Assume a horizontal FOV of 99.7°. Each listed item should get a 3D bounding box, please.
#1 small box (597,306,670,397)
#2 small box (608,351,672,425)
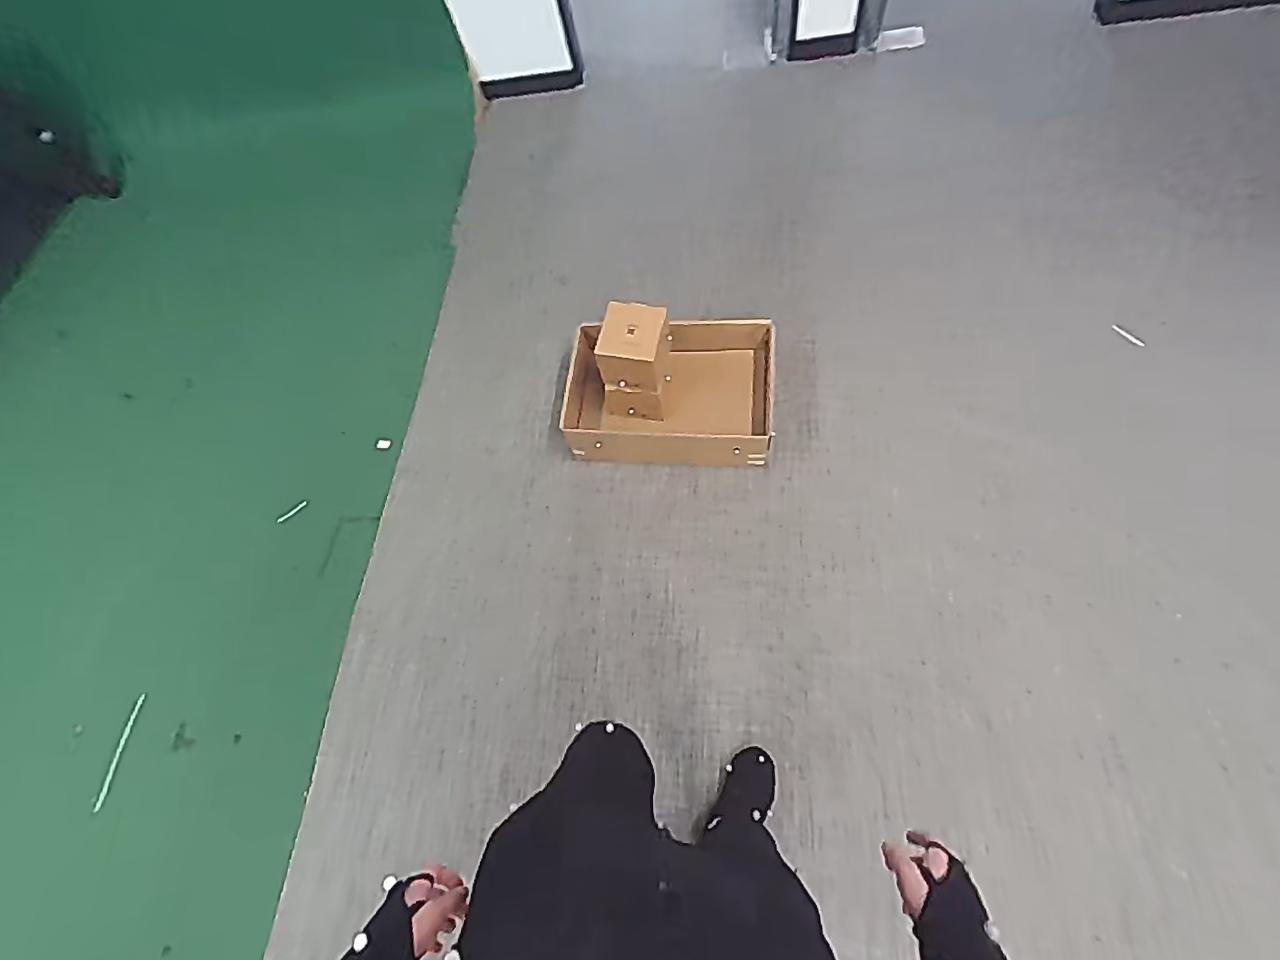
[{"bbox_3d":[-0.011,-0.360,1.531,0.168,0.176,0.179,10,70,11],"label":"small box"},{"bbox_3d":[0.006,-0.293,1.679,0.168,0.176,0.179,7,69,9],"label":"small box"}]
